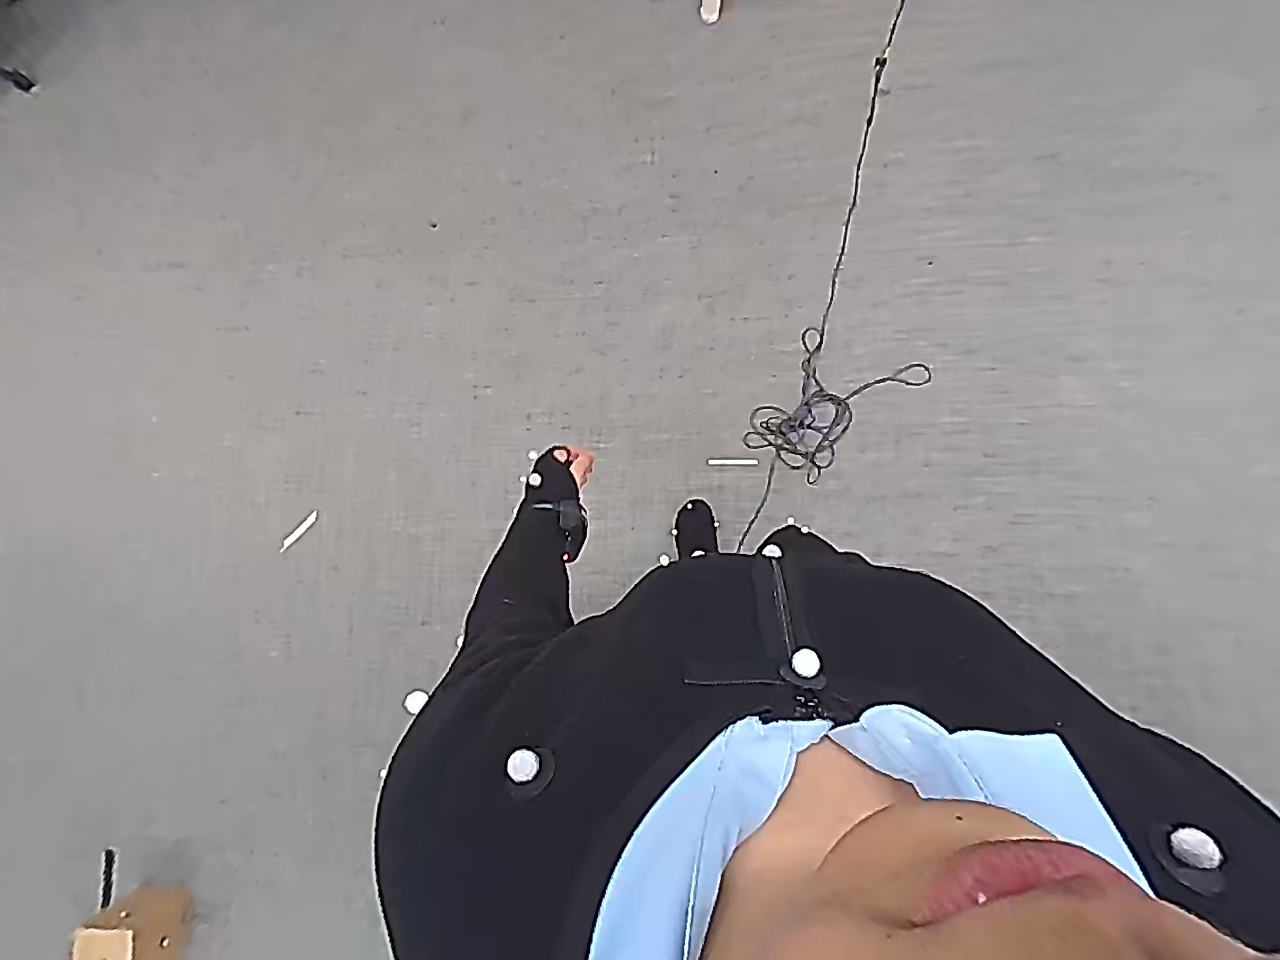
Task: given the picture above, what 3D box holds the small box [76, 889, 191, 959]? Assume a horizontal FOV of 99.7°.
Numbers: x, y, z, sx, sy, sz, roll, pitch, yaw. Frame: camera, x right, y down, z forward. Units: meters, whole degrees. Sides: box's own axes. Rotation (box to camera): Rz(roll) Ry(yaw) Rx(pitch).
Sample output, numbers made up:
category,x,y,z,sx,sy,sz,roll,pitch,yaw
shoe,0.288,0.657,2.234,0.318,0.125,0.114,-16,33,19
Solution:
category,x,y,z,sx,sy,sz,roll,pitch,yaw
small box,-1.394,1.271,1.495,0.179,0.176,0.168,-3,84,7
